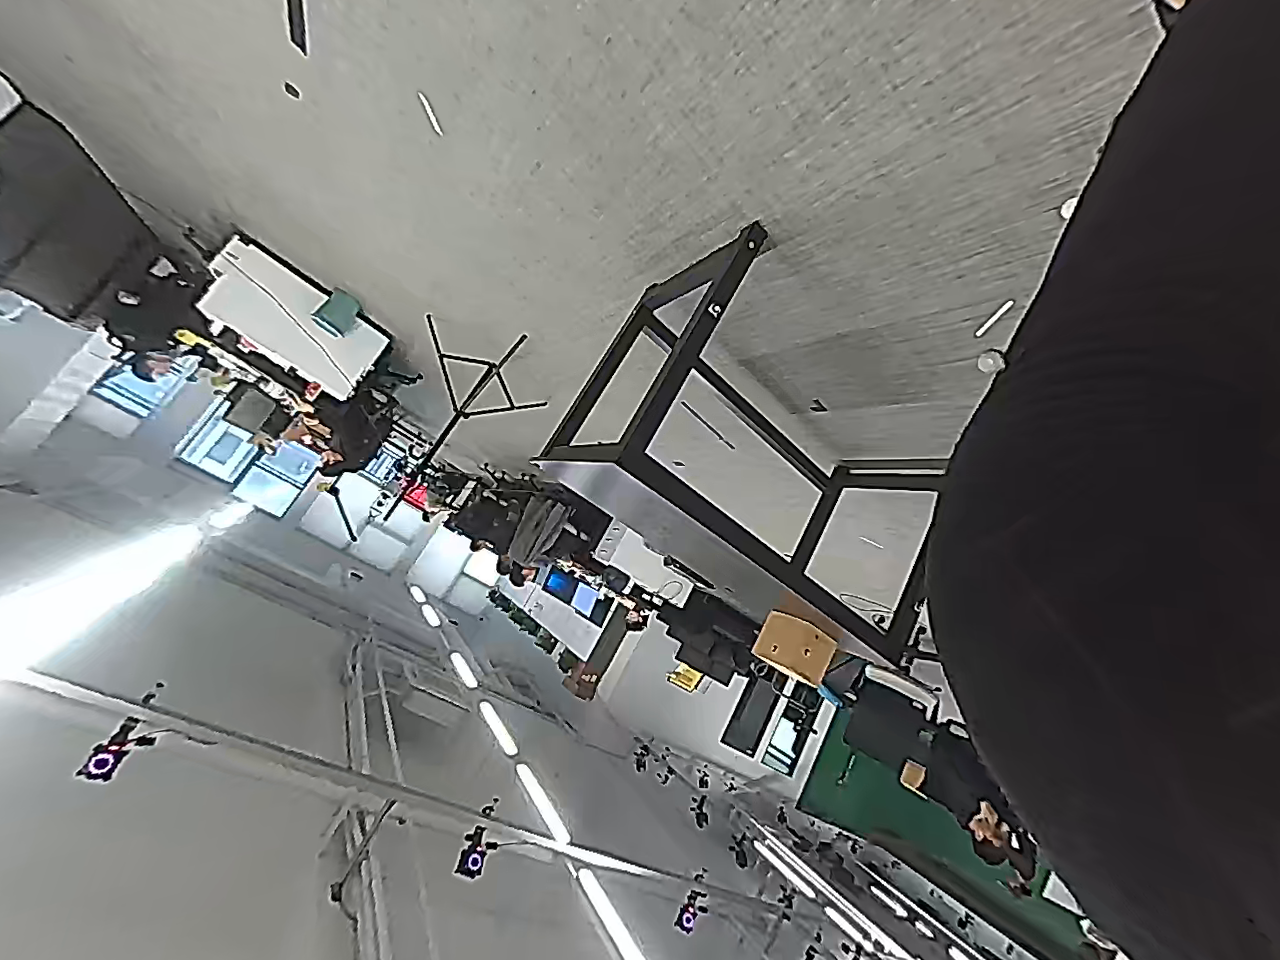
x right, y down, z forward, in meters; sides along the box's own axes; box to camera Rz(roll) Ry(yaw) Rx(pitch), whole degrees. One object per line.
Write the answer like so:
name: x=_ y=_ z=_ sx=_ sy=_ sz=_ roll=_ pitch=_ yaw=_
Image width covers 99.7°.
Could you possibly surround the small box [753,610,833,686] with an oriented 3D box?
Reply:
small box: x=0.518 y=0.555 z=1.810 sx=0.168 sy=0.176 sz=0.179 roll=37 pitch=166 yaw=-24
